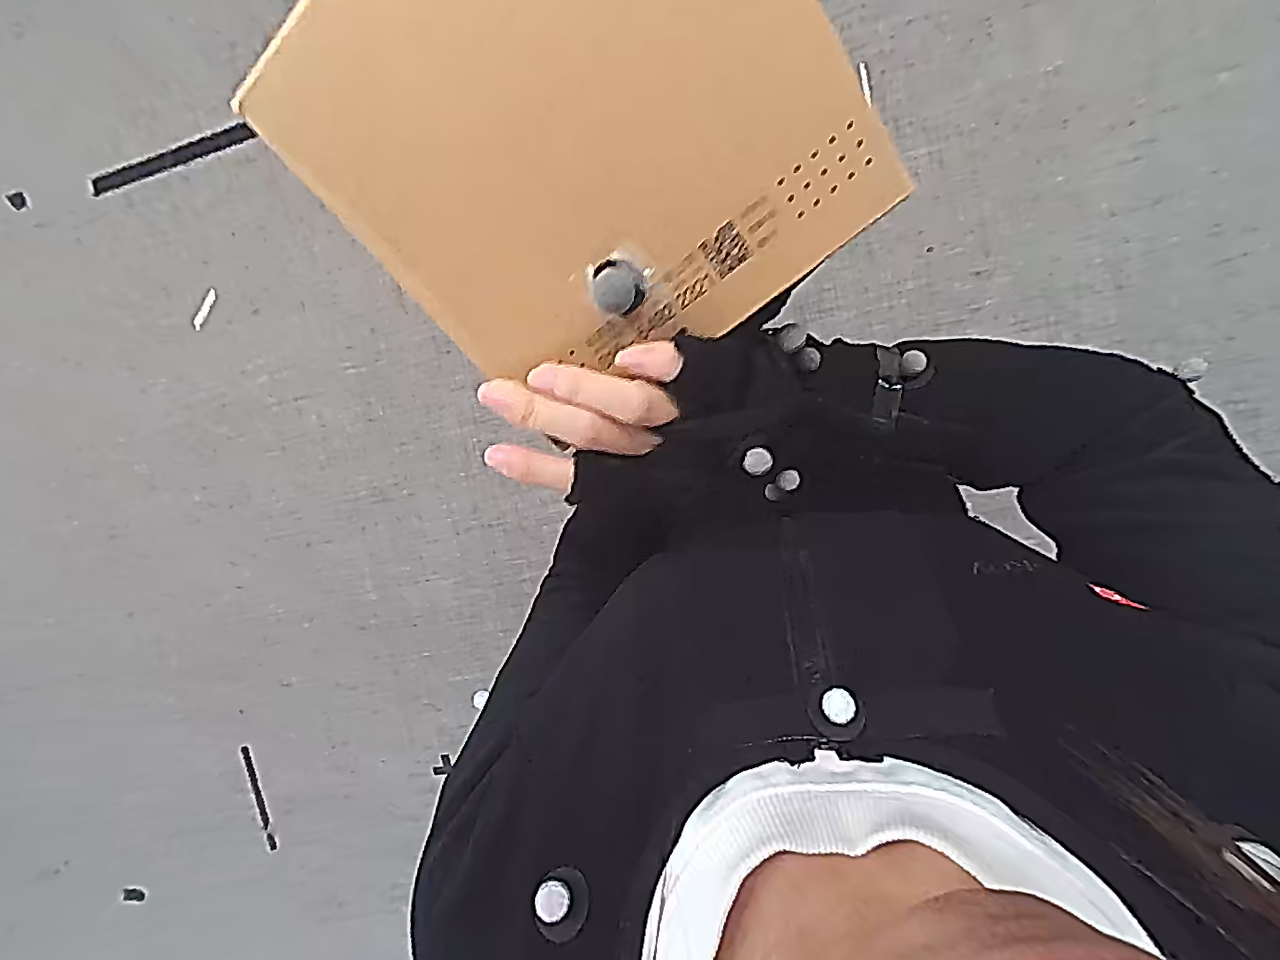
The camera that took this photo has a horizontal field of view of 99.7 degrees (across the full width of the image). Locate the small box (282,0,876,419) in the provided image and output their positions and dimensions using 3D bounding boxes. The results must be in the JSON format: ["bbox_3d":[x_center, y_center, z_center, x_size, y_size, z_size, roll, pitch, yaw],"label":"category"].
[{"bbox_3d":[-0.015,-0.158,0.273,0.168,0.179,0.176,-34,111,21],"label":"small box"}]
